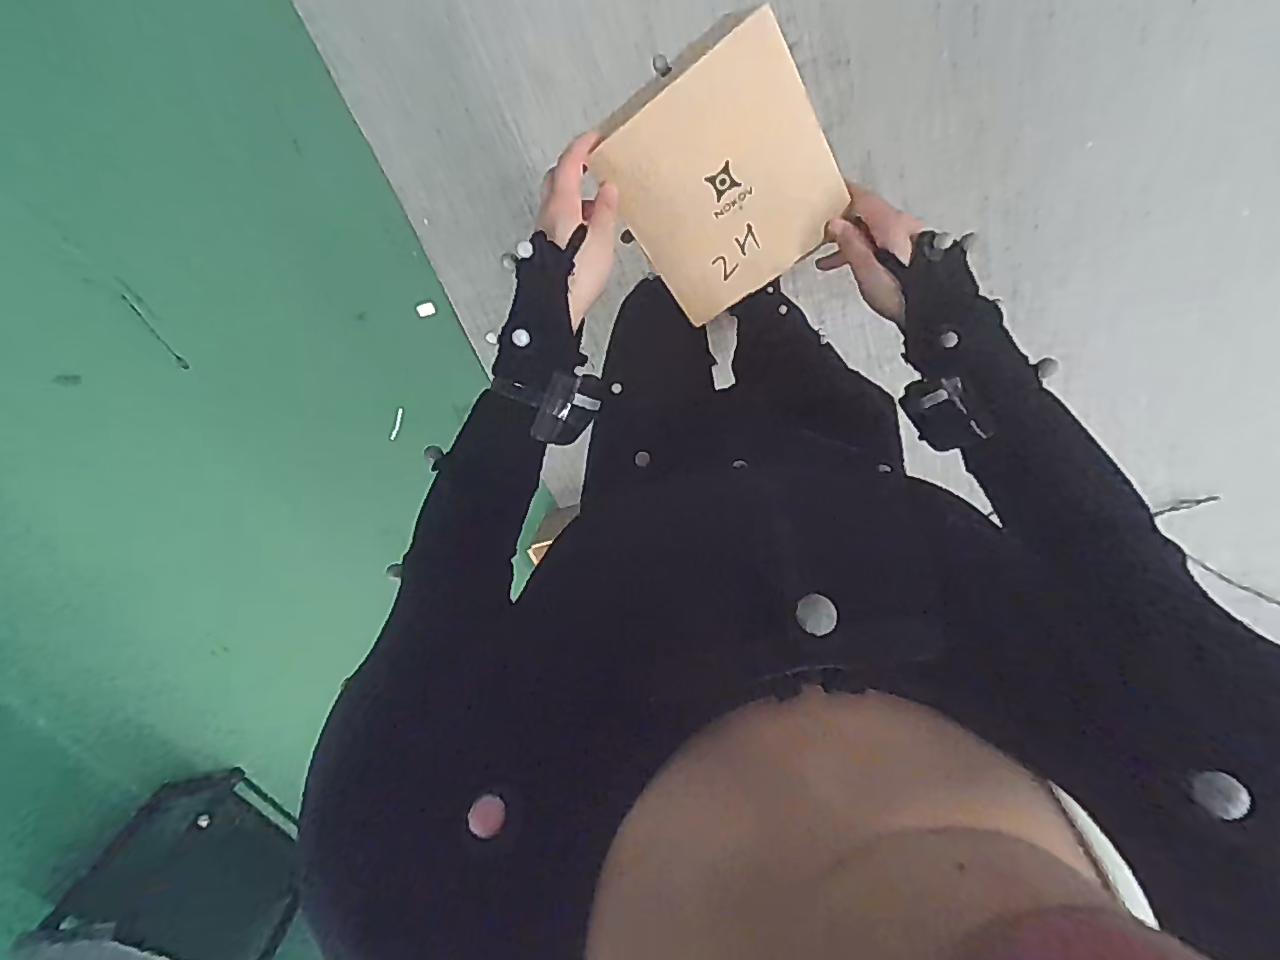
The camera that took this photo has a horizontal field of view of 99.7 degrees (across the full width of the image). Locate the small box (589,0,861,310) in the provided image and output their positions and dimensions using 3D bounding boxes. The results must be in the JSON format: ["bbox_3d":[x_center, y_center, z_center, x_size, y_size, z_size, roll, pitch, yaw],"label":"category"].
[{"bbox_3d":[0.070,-0.299,0.499,0.168,0.176,0.179,-29,125,21],"label":"small box"}]
